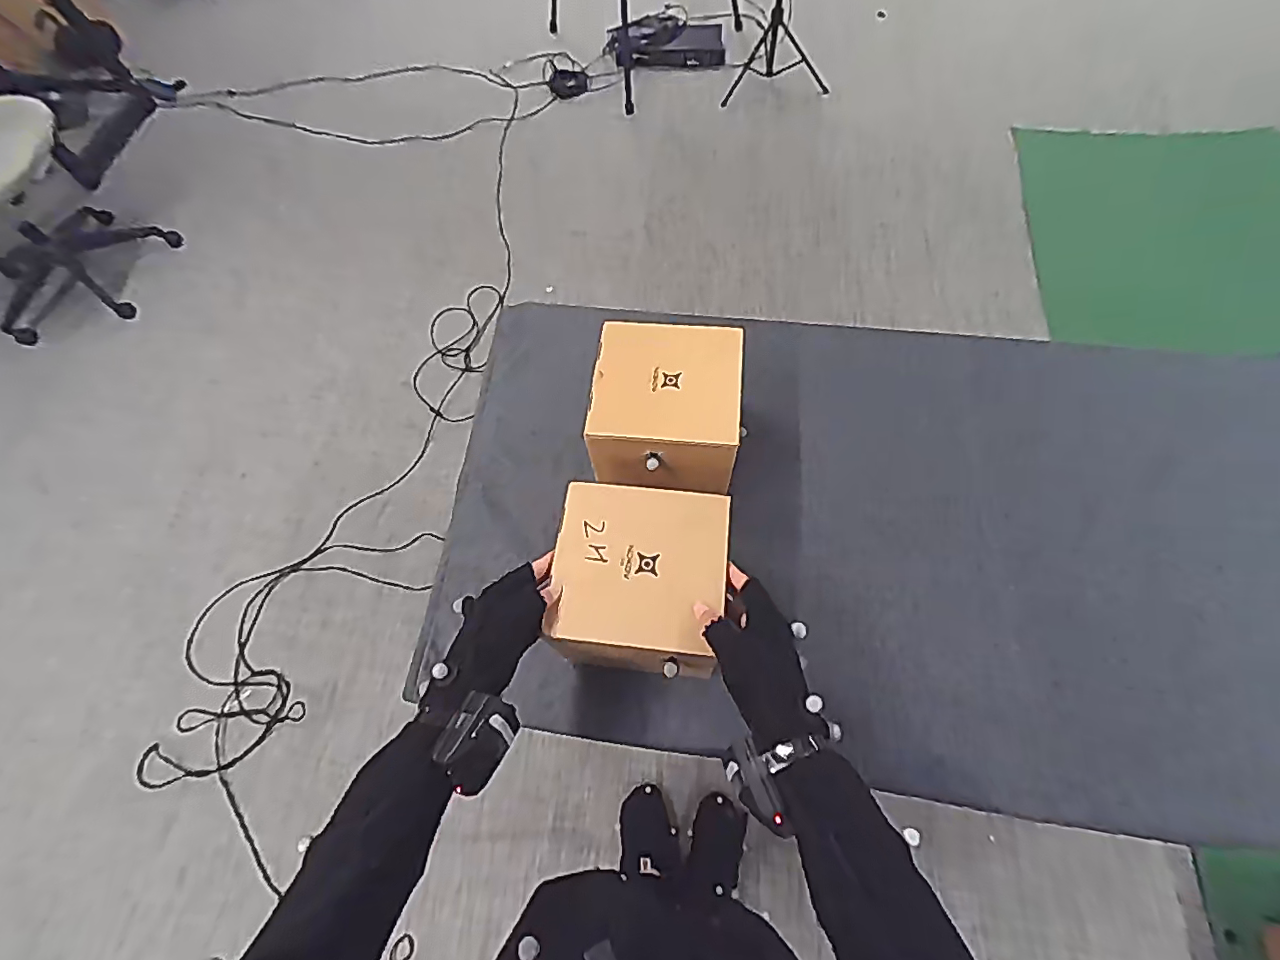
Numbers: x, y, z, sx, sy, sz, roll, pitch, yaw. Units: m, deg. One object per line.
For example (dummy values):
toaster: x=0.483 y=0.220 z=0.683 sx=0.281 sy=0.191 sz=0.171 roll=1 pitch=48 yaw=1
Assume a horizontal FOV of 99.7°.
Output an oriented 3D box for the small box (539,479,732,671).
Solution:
small box: x=0.004 y=0.114 z=0.606 sx=0.179 sy=0.176 sz=0.168 roll=5 pitch=64 yaw=6

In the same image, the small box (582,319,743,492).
small box: x=0.035 y=-0.086 z=0.703 sx=0.179 sy=0.176 sz=0.168 roll=3 pitch=65 yaw=7
